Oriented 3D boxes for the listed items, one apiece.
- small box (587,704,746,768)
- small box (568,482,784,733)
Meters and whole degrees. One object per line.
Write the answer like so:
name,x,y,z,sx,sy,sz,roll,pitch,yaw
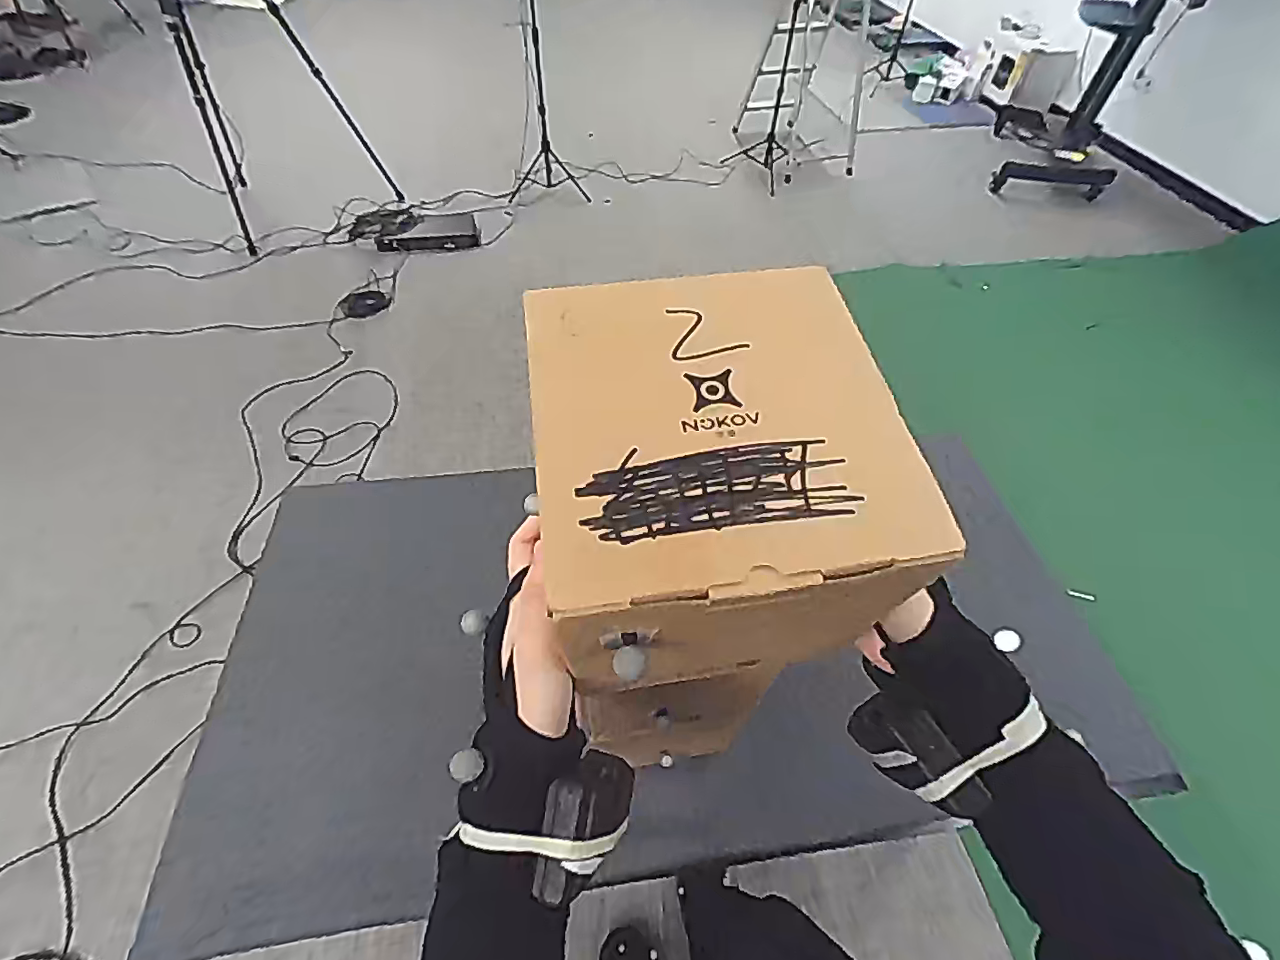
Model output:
small box,0.015,0.227,0.656,0.168,0.176,0.179,-6,52,-6
small box,0.019,0.126,0.529,0.168,0.176,0.179,-6,52,-7
